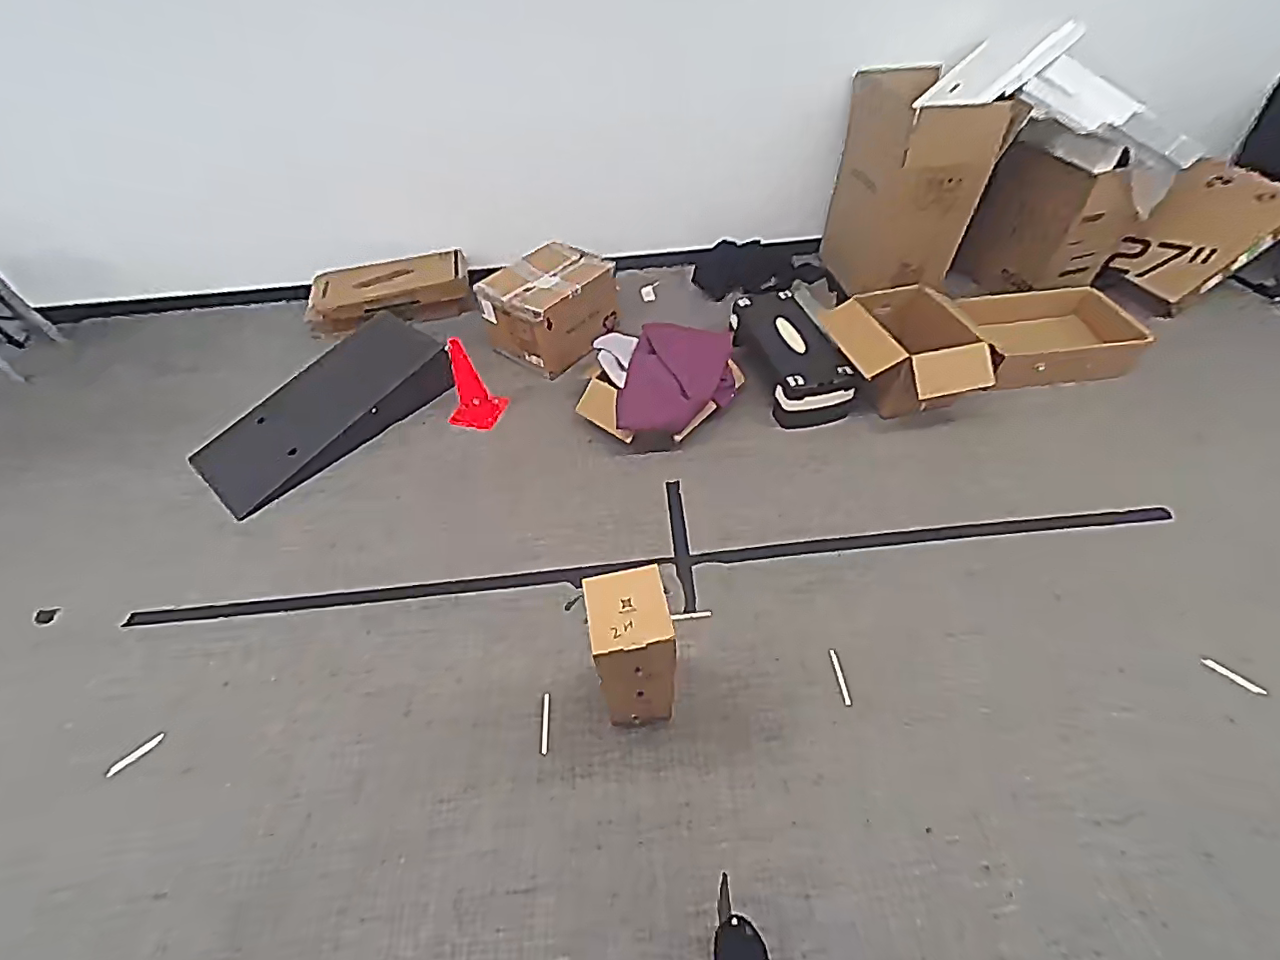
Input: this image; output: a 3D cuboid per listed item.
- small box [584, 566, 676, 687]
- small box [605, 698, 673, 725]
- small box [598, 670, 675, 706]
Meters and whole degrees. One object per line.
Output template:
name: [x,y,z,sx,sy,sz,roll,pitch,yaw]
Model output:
small box: [-0.020,0.313,1.150,0.168,0.176,0.179,-11,49,-4]
small box: [-0.006,0.516,1.410,0.168,0.176,0.179,-8,50,-1]
small box: [-0.009,0.421,1.276,0.168,0.176,0.179,-7,49,-1]
